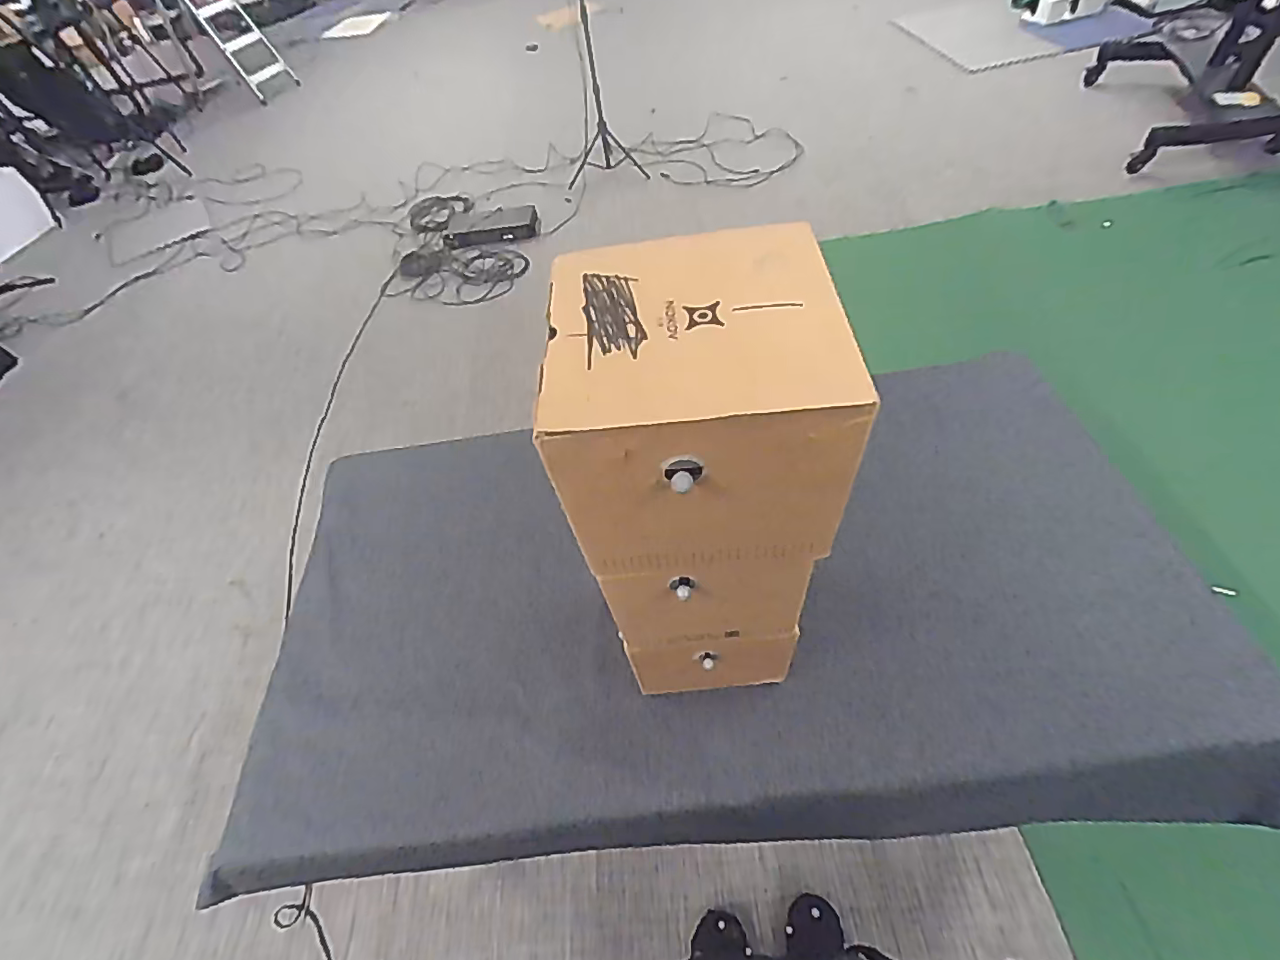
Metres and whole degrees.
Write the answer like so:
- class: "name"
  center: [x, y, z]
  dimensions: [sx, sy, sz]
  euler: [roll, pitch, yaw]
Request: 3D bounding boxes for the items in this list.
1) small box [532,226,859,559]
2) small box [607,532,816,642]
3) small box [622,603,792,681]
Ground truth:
- class: "small box"
  center: [0.036, -0.053, 0.393]
  dimensions: [0.179, 0.176, 0.168]
  euler: [-5, 55, 5]
- class: "small box"
  center: [0.057, 0.040, 0.531]
  dimensions: [0.168, 0.176, 0.179]
  euler: [-8, 55, 2]
- class: "small box"
  center: [0.075, 0.136, 0.659]
  dimensions: [0.179, 0.176, 0.168]
  euler: [-7, 54, 3]
